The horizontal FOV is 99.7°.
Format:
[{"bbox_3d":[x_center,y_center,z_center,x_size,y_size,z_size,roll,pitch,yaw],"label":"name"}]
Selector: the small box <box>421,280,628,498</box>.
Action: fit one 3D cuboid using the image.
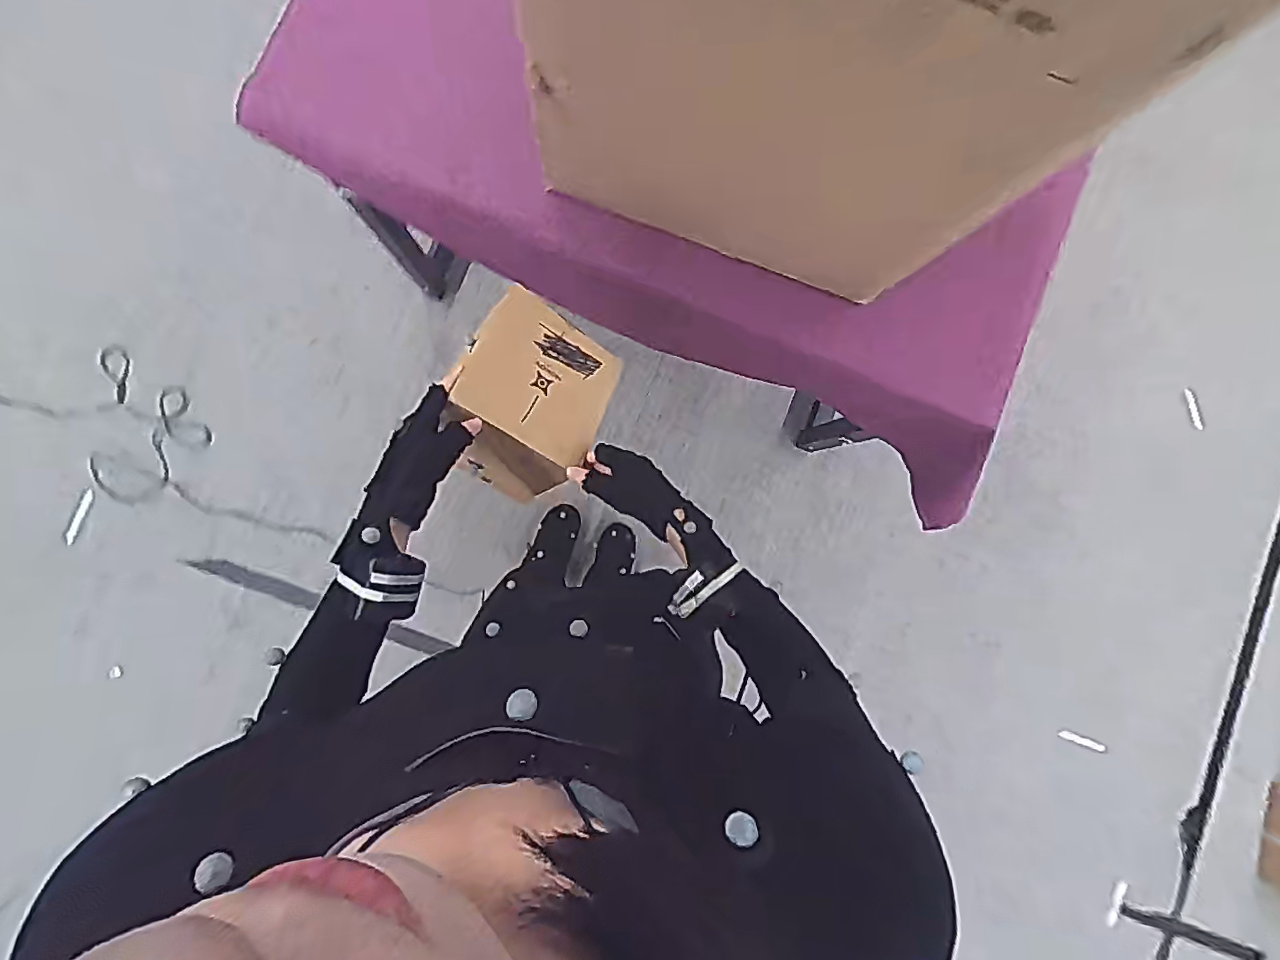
[{"bbox_3d":[-0.146,-0.101,0.671,0.168,0.176,0.179,33,61,-24],"label":"small box"}]
